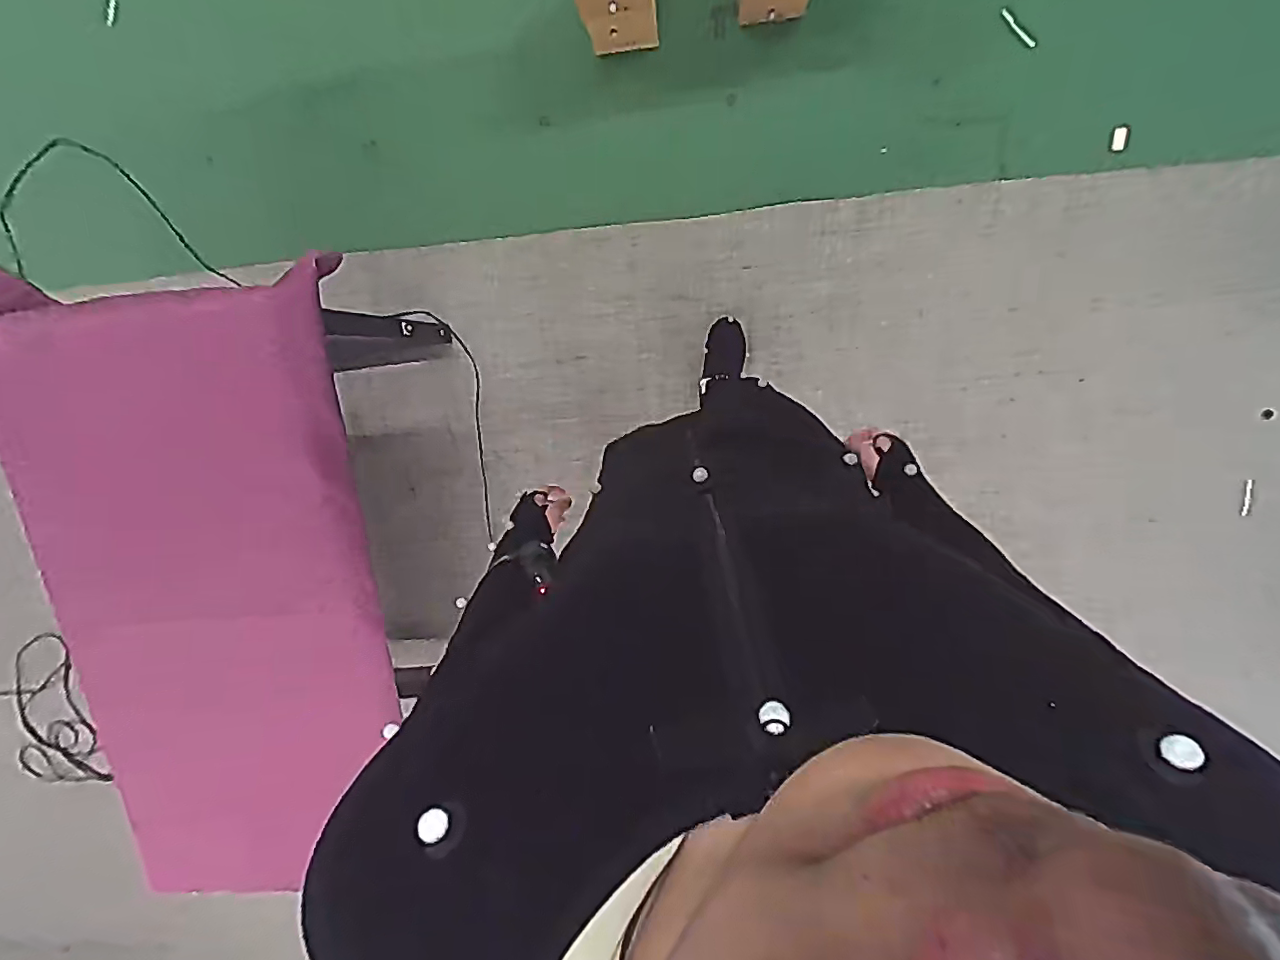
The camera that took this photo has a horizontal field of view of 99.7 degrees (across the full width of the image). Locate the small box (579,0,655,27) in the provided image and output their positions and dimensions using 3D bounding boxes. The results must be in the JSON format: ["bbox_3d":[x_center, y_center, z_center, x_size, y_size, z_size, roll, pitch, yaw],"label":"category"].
[{"bbox_3d":[-0.062,-1.126,1.152,0.168,0.176,0.179,-5,102,7],"label":"small box"}]

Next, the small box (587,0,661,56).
[{"bbox_3d":[-0.038,-1.167,1.310,0.168,0.176,0.179,-3,101,6],"label":"small box"}]
